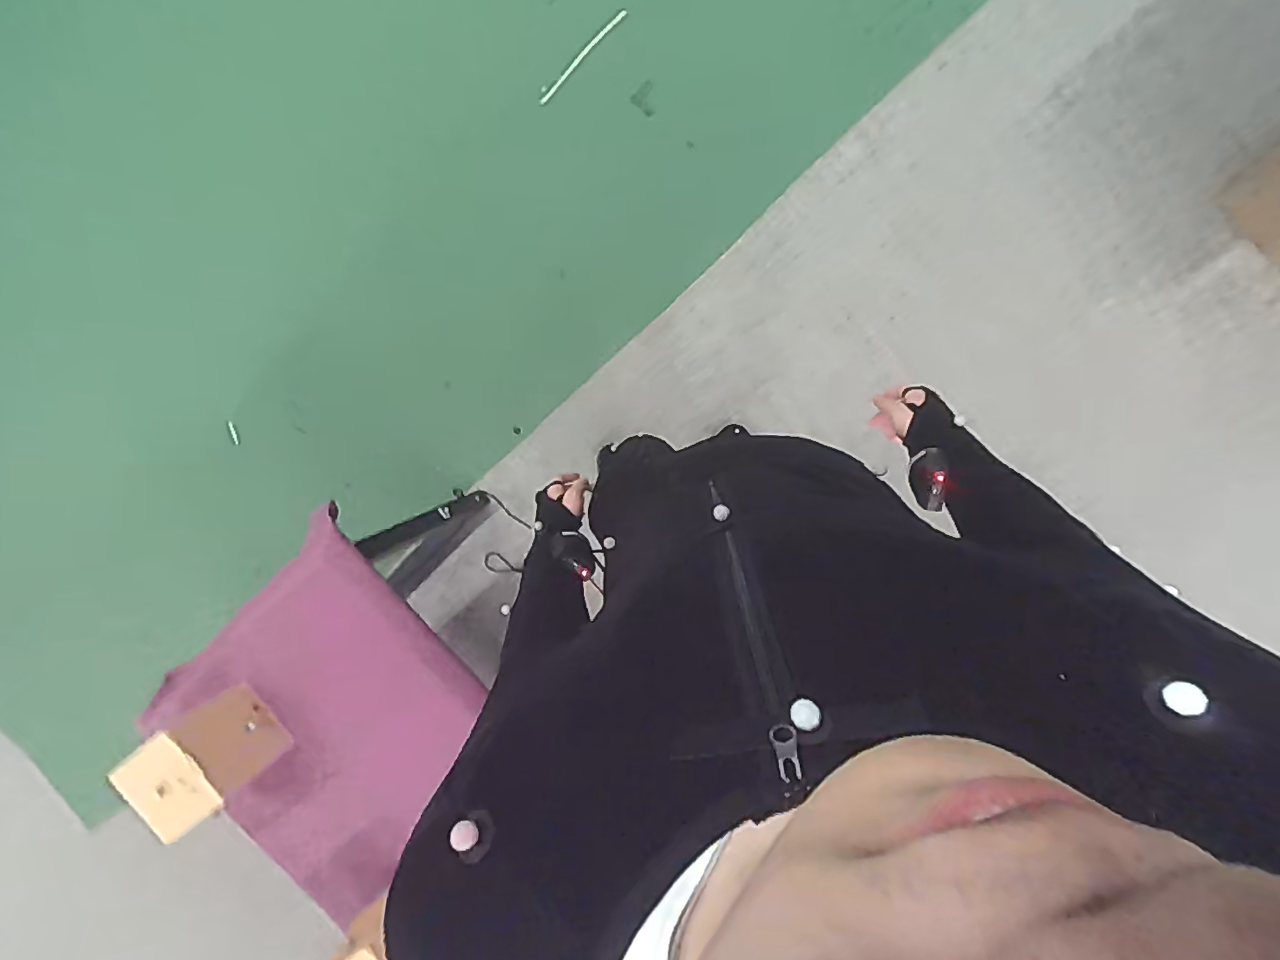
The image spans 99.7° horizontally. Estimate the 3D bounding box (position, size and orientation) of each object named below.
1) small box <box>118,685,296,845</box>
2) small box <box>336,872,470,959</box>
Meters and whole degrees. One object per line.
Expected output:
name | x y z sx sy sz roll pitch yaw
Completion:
small box | -0.814 0.535 1.034 0.179 0.176 0.168 -37 93 12
small box | -0.467 0.922 1.046 0.179 0.176 0.168 -43 90 12
